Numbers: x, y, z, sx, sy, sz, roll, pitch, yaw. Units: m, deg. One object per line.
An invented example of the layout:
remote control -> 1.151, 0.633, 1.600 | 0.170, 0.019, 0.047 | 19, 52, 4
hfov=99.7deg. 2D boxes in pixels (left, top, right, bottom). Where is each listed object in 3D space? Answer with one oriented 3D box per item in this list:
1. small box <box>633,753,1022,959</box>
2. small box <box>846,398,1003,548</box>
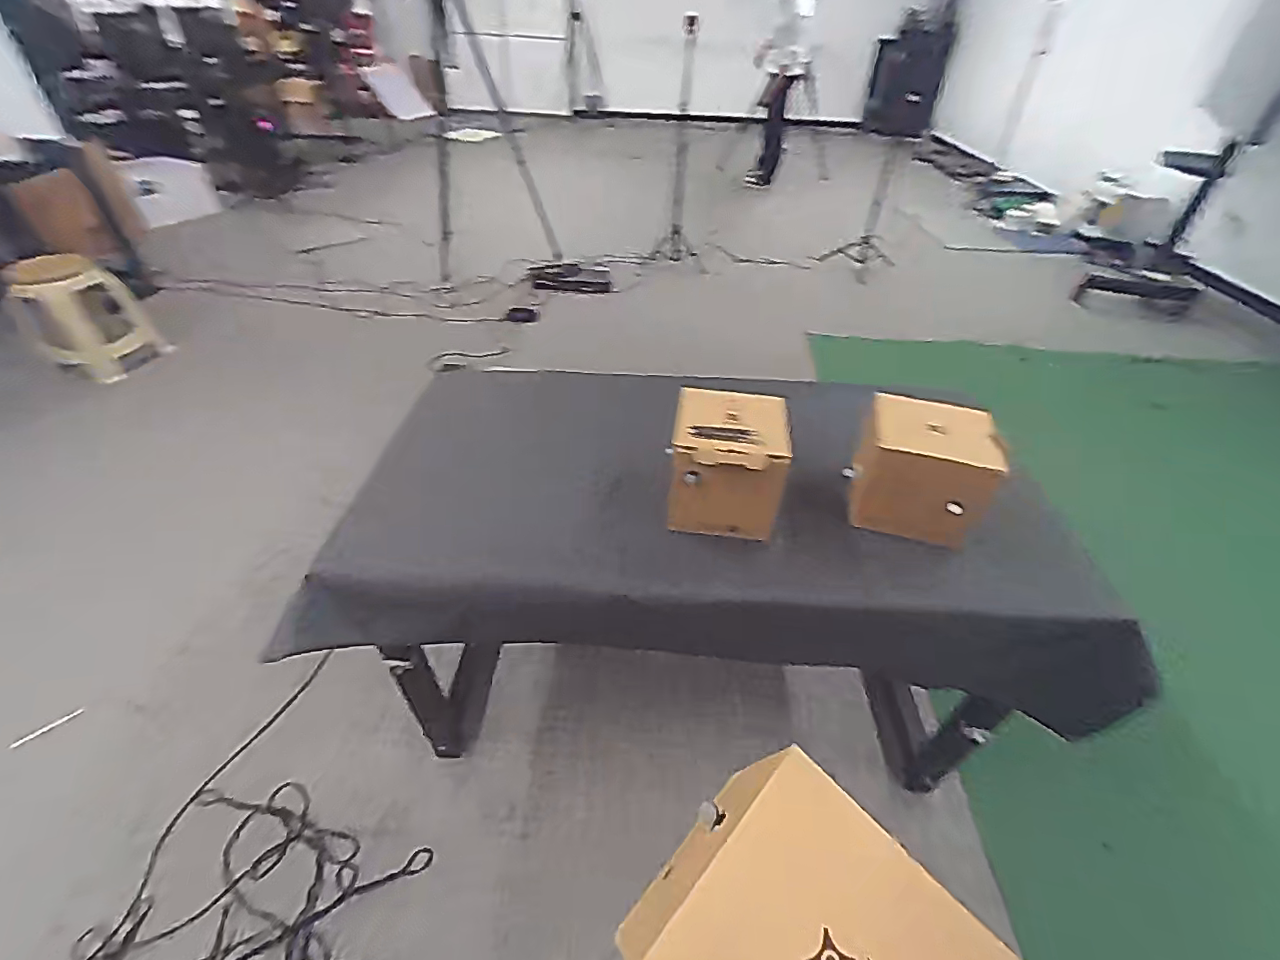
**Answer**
small box -> 0.112, 0.332, 0.375 | 0.179, 0.176, 0.168 | 42, 60, 19
small box -> 0.454, -0.009, 0.892 | 0.179, 0.176, 0.168 | 12, 41, 12
